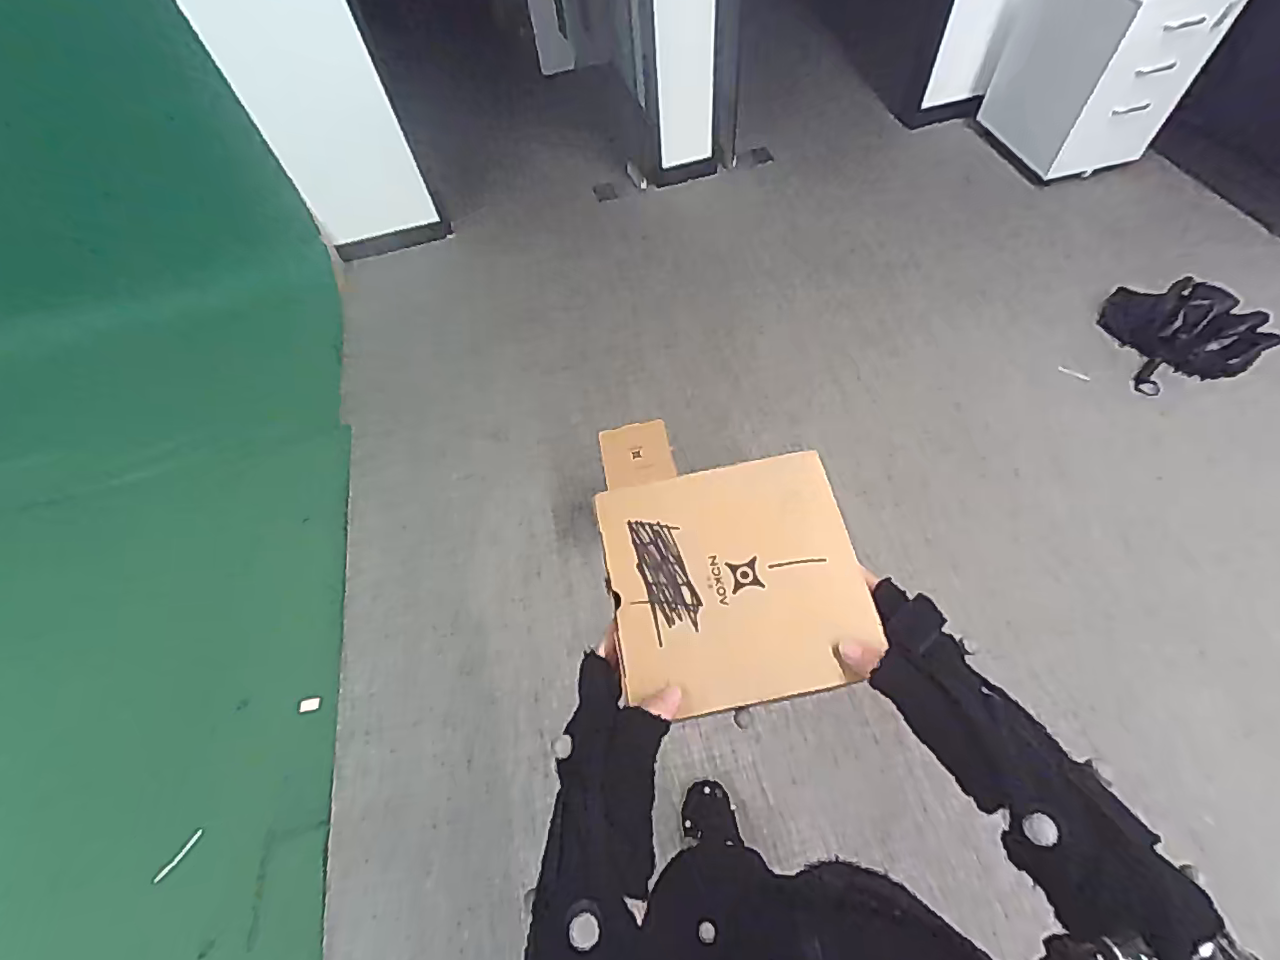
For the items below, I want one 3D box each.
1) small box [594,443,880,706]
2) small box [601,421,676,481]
[{"bbox_3d":[0.069,0.092,0.460,0.179,0.176,0.168,-11,66,0],"label":"small box"},{"bbox_3d":[0.005,-0.019,1.365,0.168,0.176,0.179,-13,59,1],"label":"small box"}]
